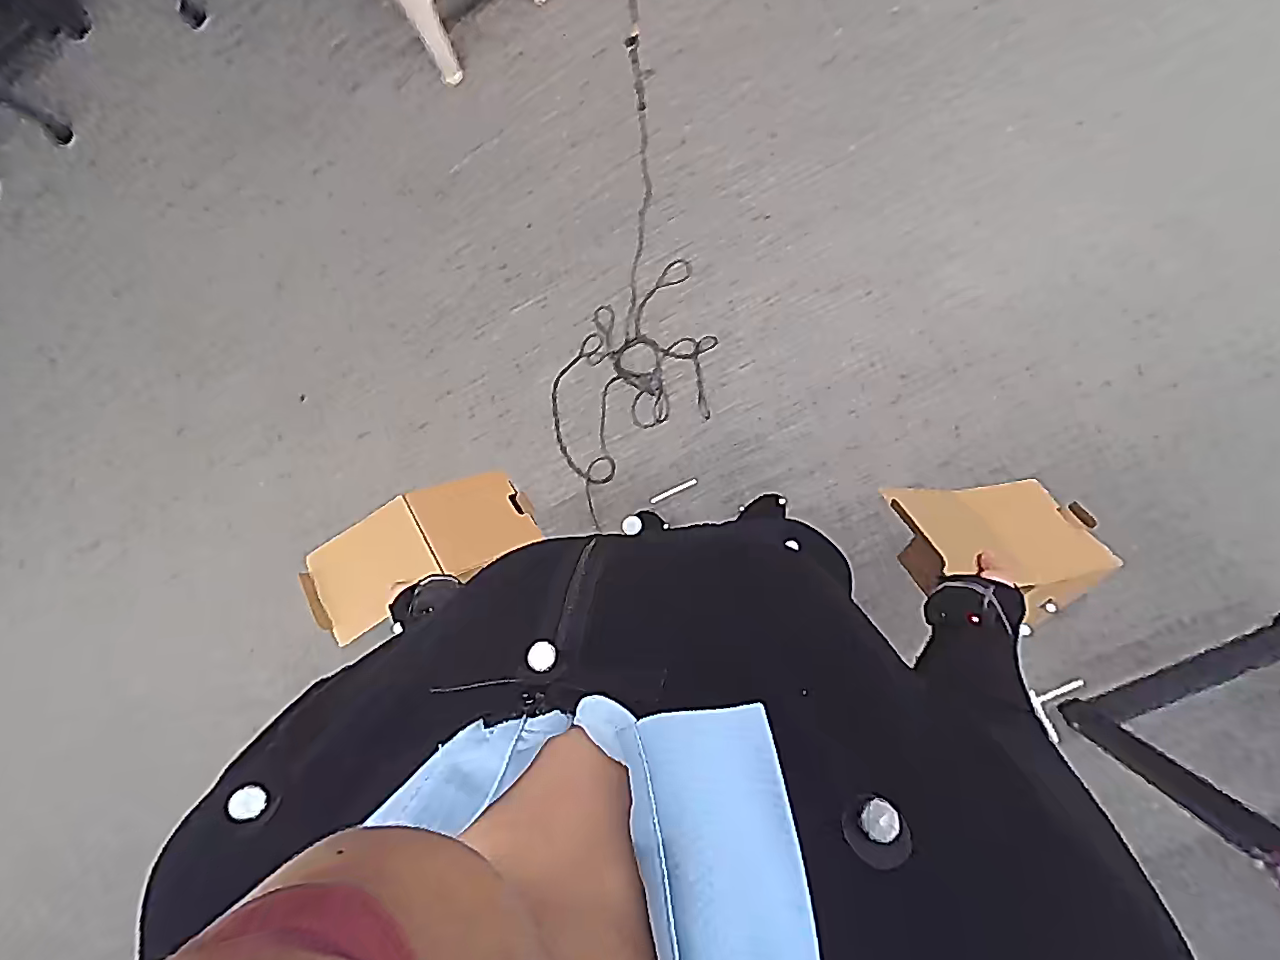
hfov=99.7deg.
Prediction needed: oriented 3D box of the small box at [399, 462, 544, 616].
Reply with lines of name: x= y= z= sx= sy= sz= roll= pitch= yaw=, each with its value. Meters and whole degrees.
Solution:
small box: x=-0.290 y=0.101 z=0.914 sx=0.168 sy=0.179 sz=0.176 roll=54 pitch=140 yaw=21
